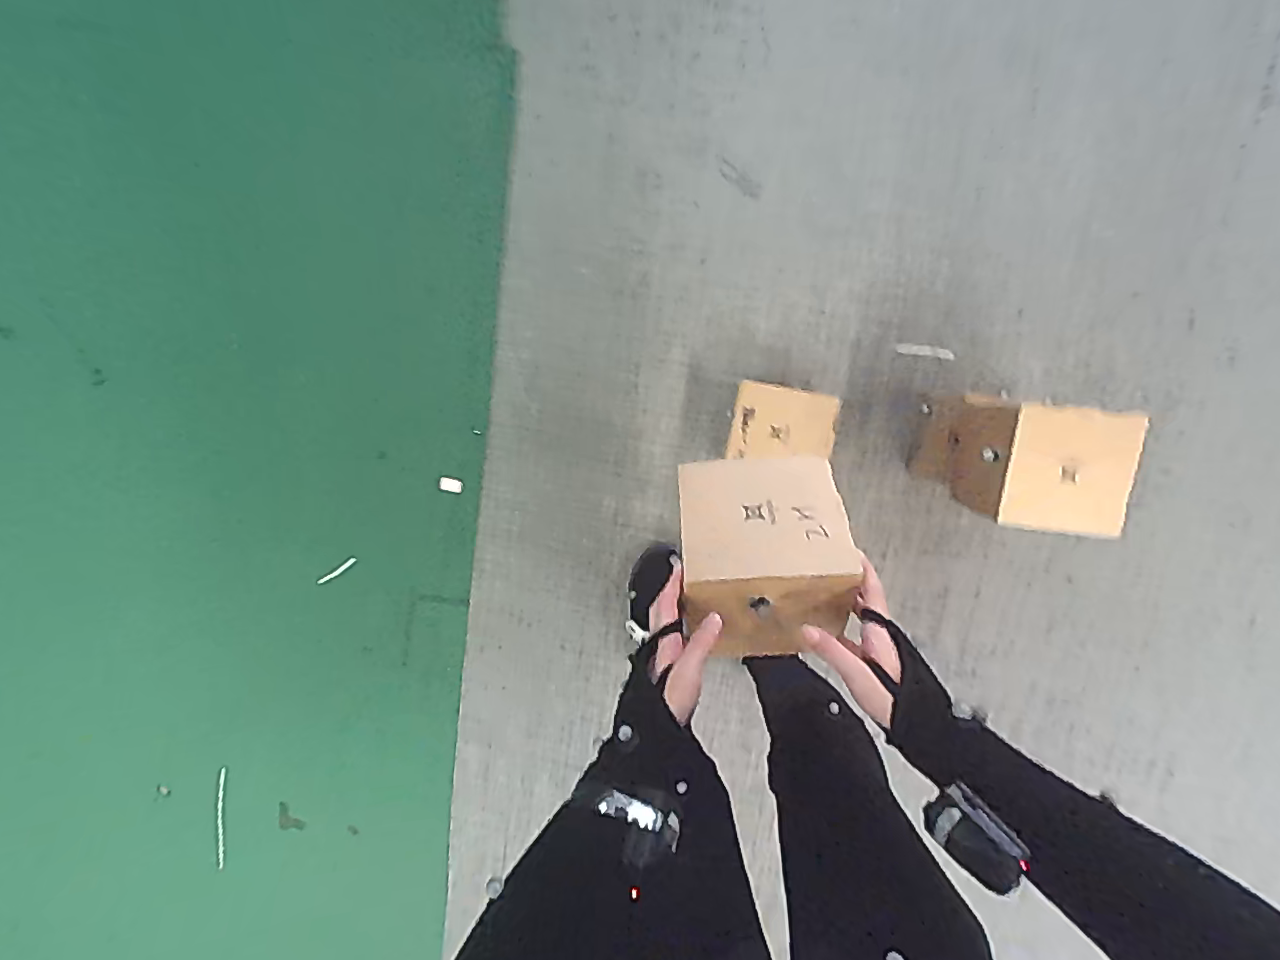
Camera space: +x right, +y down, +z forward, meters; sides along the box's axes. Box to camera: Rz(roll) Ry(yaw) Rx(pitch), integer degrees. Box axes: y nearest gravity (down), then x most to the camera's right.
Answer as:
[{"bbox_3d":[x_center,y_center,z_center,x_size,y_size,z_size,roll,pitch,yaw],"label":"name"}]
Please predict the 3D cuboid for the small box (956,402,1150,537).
[{"bbox_3d":[0.617,-0.025,0.836,0.168,0.176,0.179,6,99,7],"label":"small box"}]

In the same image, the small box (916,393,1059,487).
[{"bbox_3d":[0.637,-0.064,0.993,0.179,0.176,0.168,10,100,6],"label":"small box"}]

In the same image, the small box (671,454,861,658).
[{"bbox_3d":[0.133,0.092,0.622,0.179,0.168,0.176,-5,137,5],"label":"small box"}]

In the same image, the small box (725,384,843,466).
[{"bbox_3d":[0.267,-0.090,1.045,0.179,0.176,0.168,12,100,6],"label":"small box"}]
